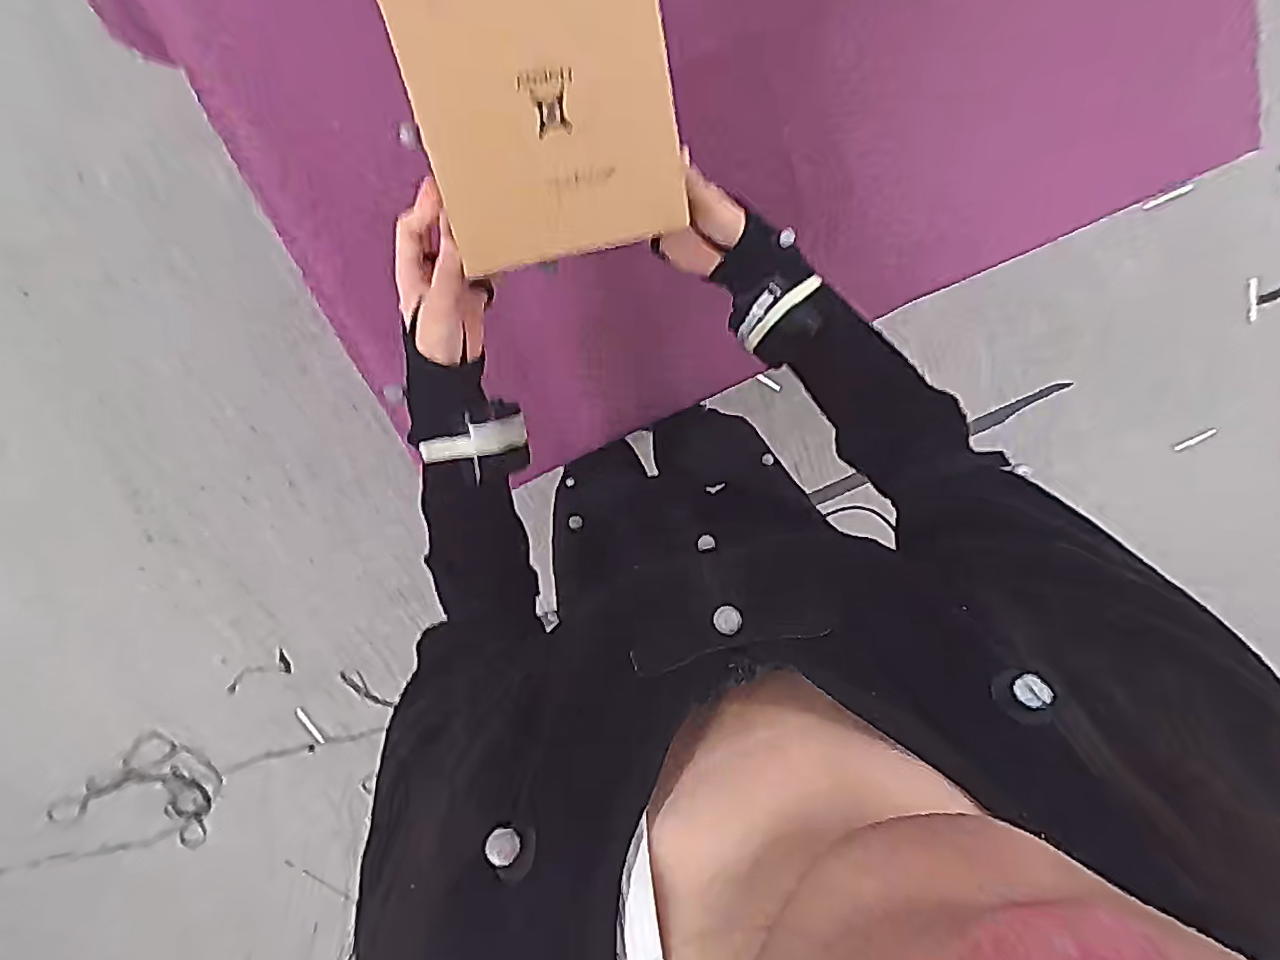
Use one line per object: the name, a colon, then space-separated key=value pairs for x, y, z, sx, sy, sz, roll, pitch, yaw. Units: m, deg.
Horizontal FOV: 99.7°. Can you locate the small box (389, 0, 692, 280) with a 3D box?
small box: x=-0.076 y=-0.261 z=0.416 sx=0.168 sy=0.176 sz=0.179 roll=-17 pitch=115 yaw=-10
